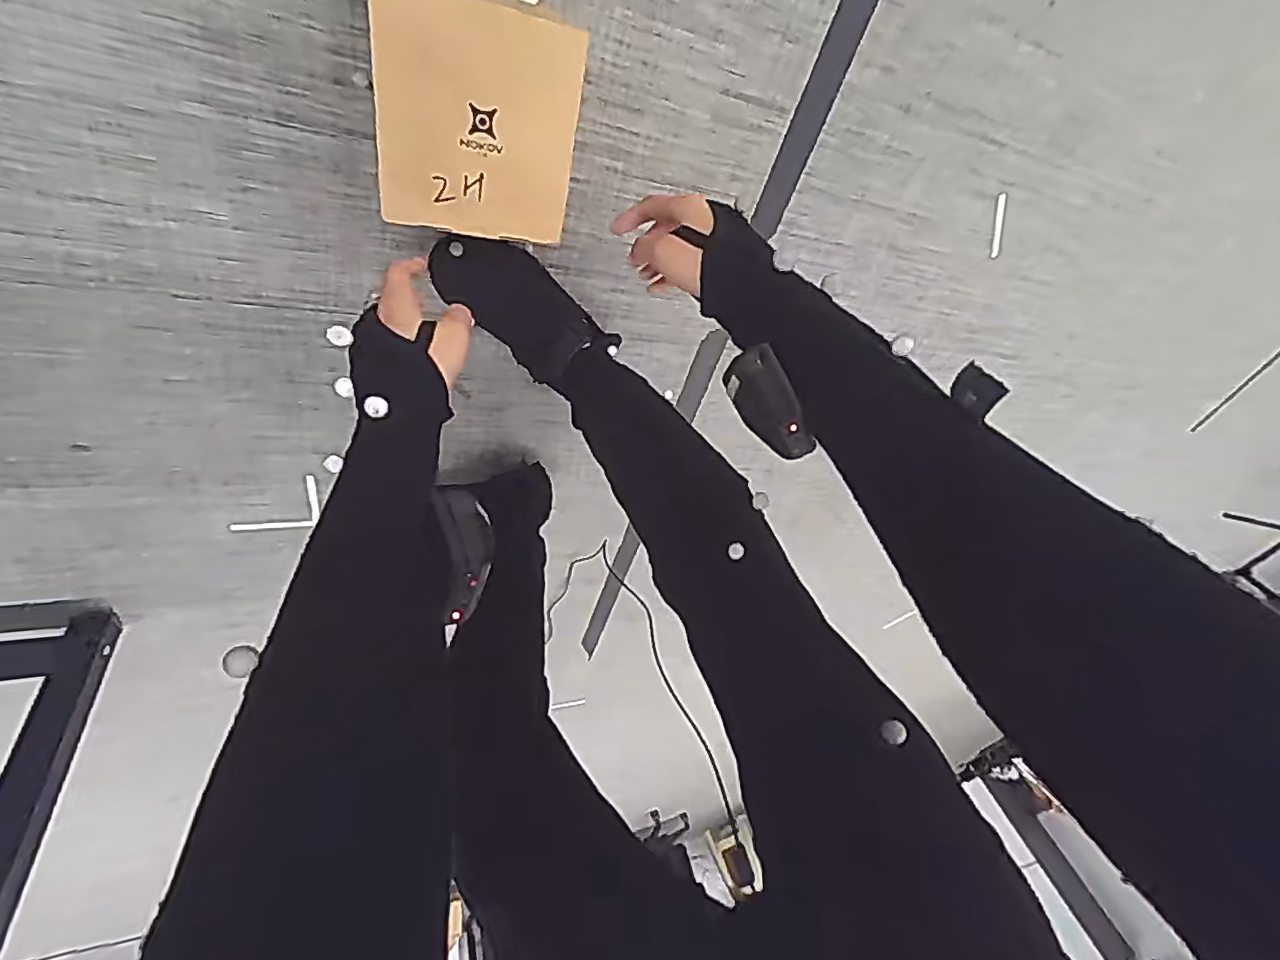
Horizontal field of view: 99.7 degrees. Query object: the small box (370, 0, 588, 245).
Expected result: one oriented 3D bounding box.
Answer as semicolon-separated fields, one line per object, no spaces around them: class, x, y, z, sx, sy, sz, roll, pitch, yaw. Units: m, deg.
small box;-0.161;-0.352;0.513;0.168;0.176;0.179;-2;134;-23
